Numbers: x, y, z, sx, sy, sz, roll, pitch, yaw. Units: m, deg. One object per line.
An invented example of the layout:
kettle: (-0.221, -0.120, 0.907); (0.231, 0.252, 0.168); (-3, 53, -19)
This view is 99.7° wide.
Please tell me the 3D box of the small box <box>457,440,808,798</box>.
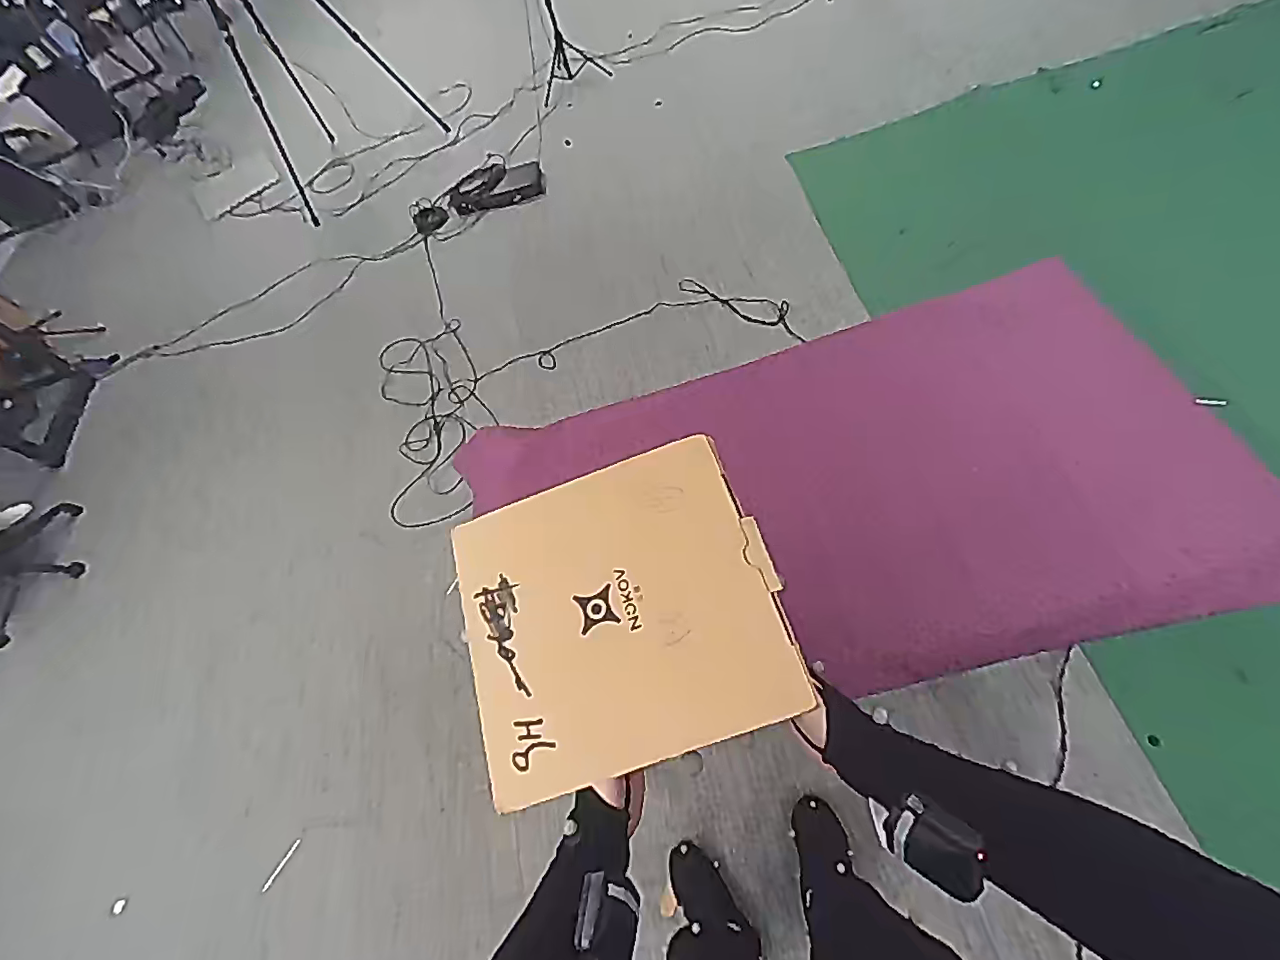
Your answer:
small box: (-0.001, 0.101, 0.386); (0.179, 0.176, 0.168); (-20, 65, 4)
